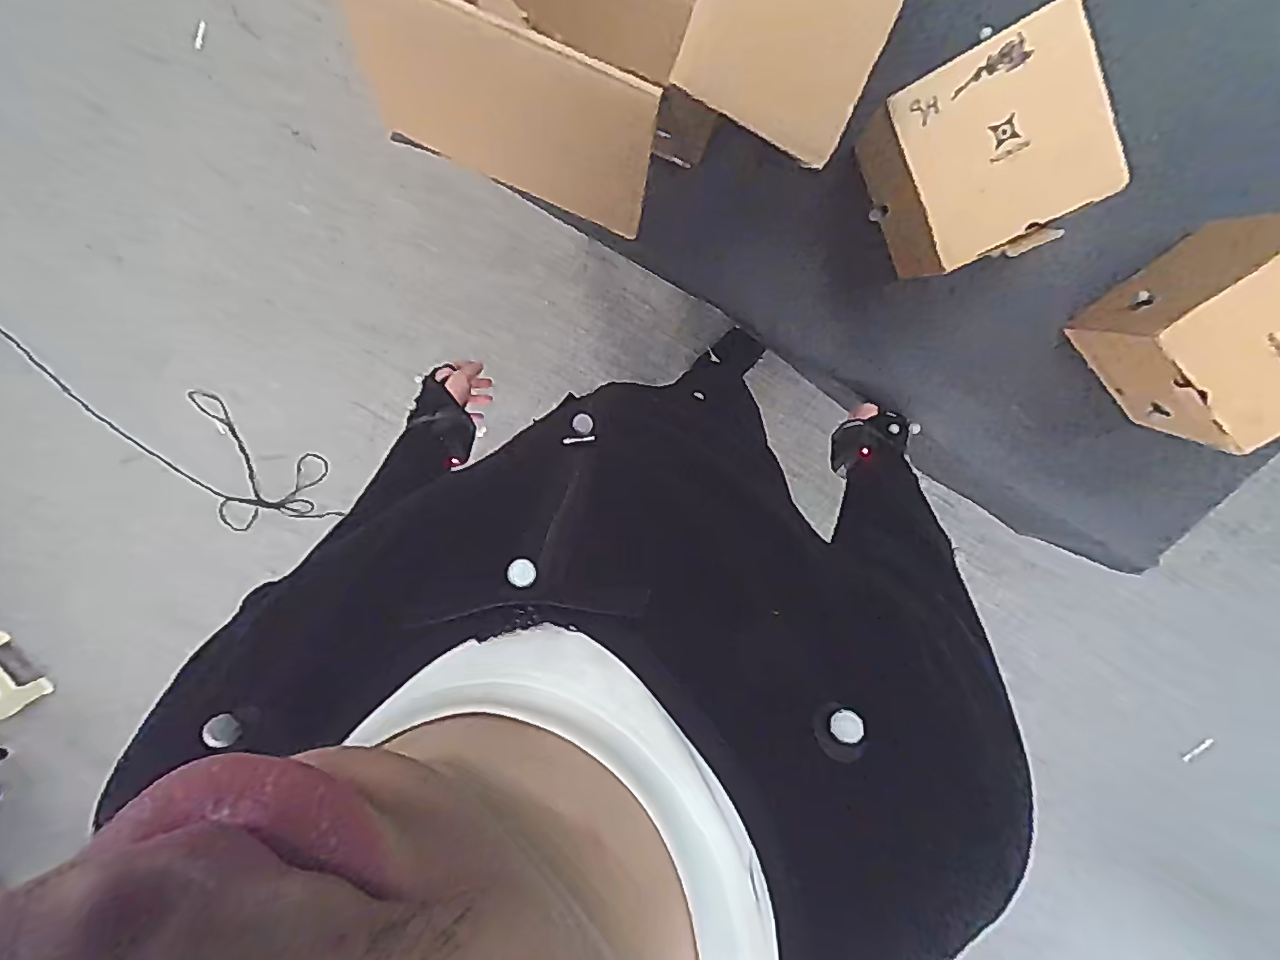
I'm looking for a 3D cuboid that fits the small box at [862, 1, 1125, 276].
[{"bbox_3d":[0.361,-0.340,0.584,0.168,0.176,0.179,-23,103,18],"label":"small box"}]

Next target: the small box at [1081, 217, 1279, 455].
[{"bbox_3d":[0.638,-0.159,0.589,0.179,0.176,0.168,-40,98,19],"label":"small box"}]
